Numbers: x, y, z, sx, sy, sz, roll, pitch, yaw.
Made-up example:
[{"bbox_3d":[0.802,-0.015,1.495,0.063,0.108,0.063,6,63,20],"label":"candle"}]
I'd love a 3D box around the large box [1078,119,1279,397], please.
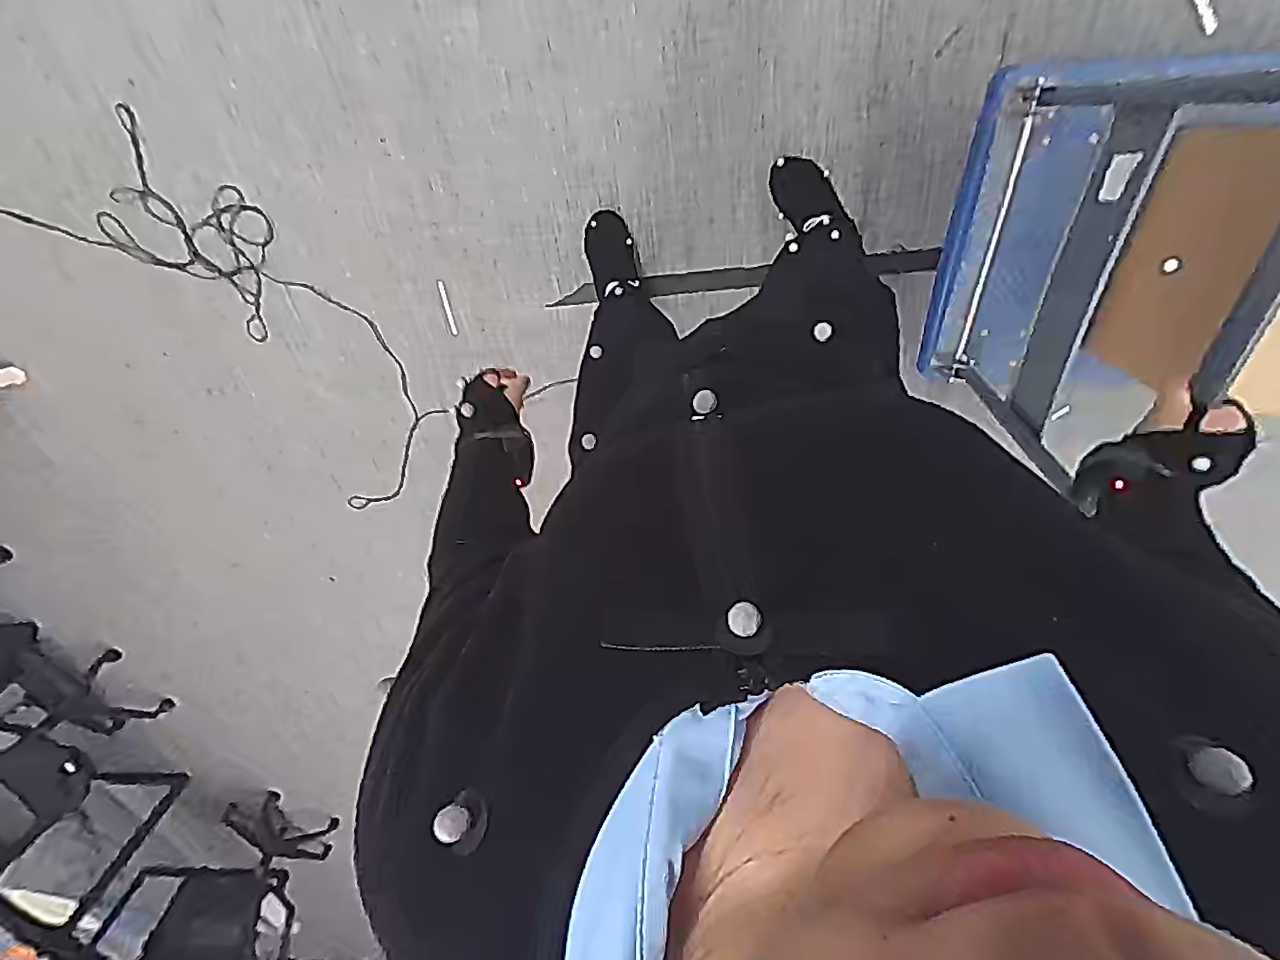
[{"bbox_3d":[1.073,-0.386,0.935,0.320,0.320,0.408,1,122,5],"label":"large box"}]
